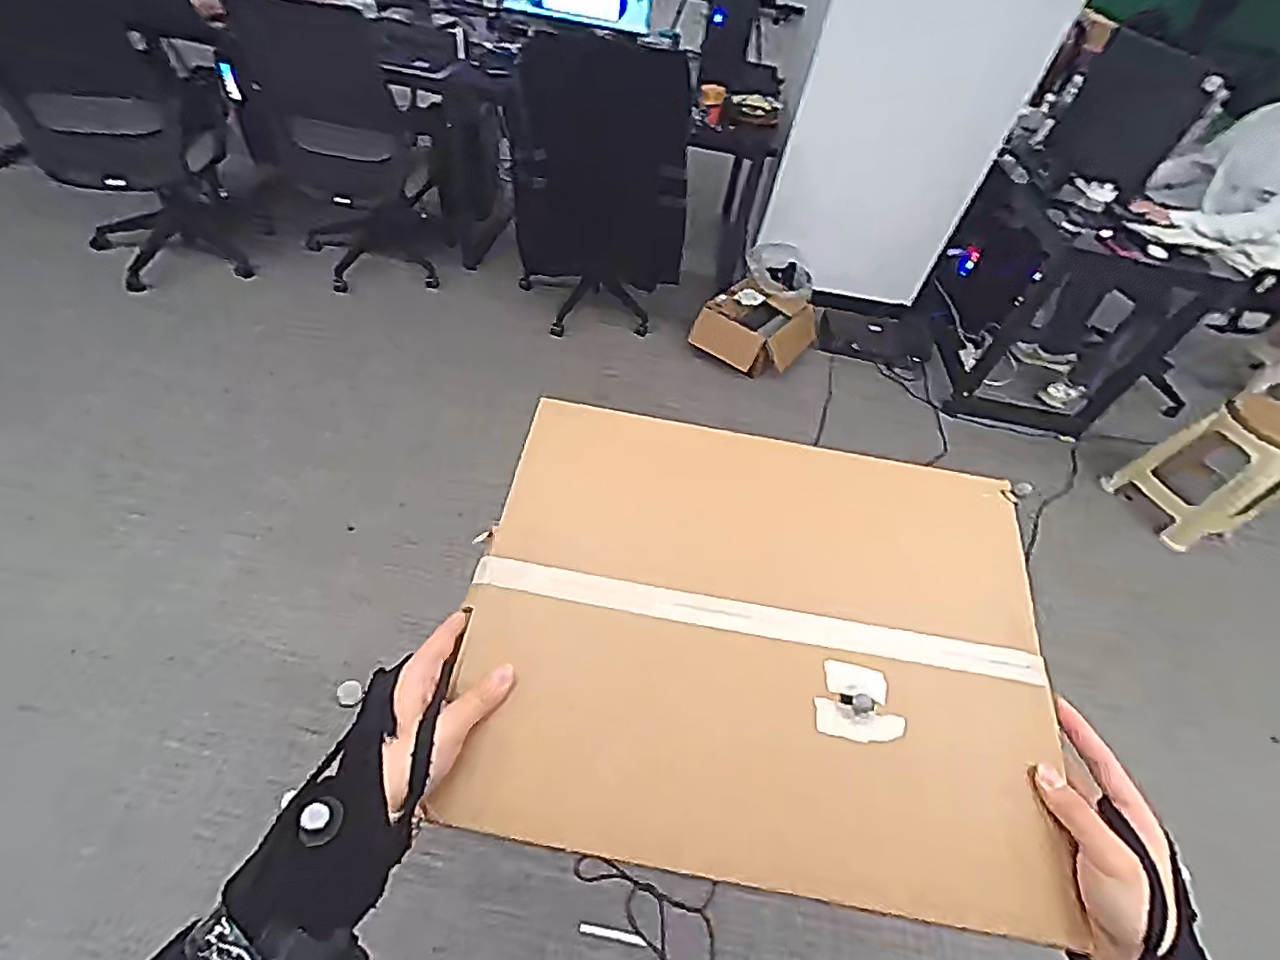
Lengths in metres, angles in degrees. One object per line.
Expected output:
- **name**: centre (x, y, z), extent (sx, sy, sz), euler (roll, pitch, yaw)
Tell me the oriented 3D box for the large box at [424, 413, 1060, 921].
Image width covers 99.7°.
- **large box**: centre (0.071, 0.173, 0.529), extent (0.408, 0.320, 0.320), euler (10, 62, 1)
